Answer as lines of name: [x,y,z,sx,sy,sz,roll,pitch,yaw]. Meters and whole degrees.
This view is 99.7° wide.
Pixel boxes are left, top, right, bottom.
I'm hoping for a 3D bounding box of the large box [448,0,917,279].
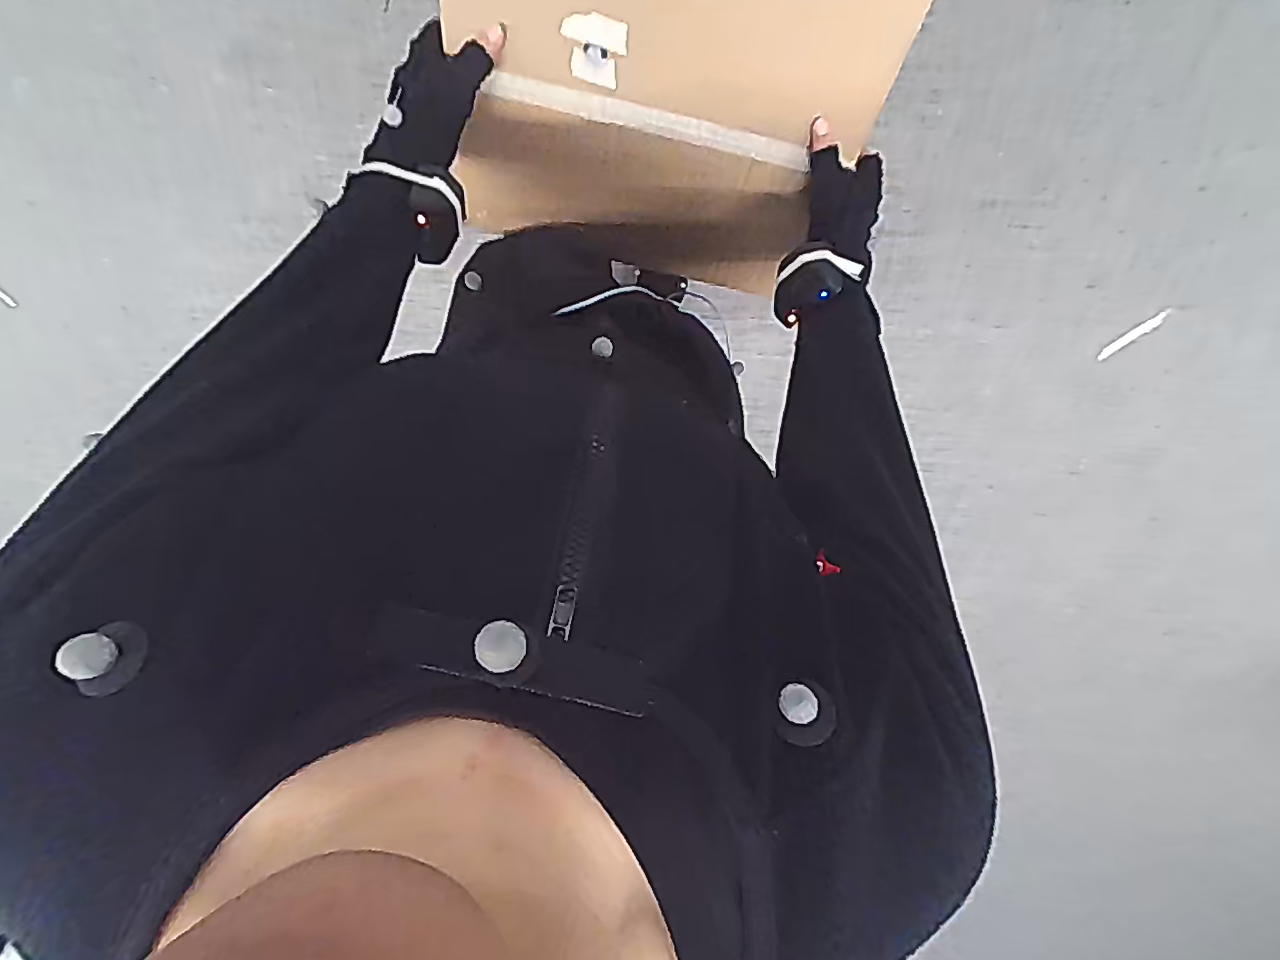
large box: [0.034,-0.488,0.613,0.408,0.320,0.320,12,142,-5]
